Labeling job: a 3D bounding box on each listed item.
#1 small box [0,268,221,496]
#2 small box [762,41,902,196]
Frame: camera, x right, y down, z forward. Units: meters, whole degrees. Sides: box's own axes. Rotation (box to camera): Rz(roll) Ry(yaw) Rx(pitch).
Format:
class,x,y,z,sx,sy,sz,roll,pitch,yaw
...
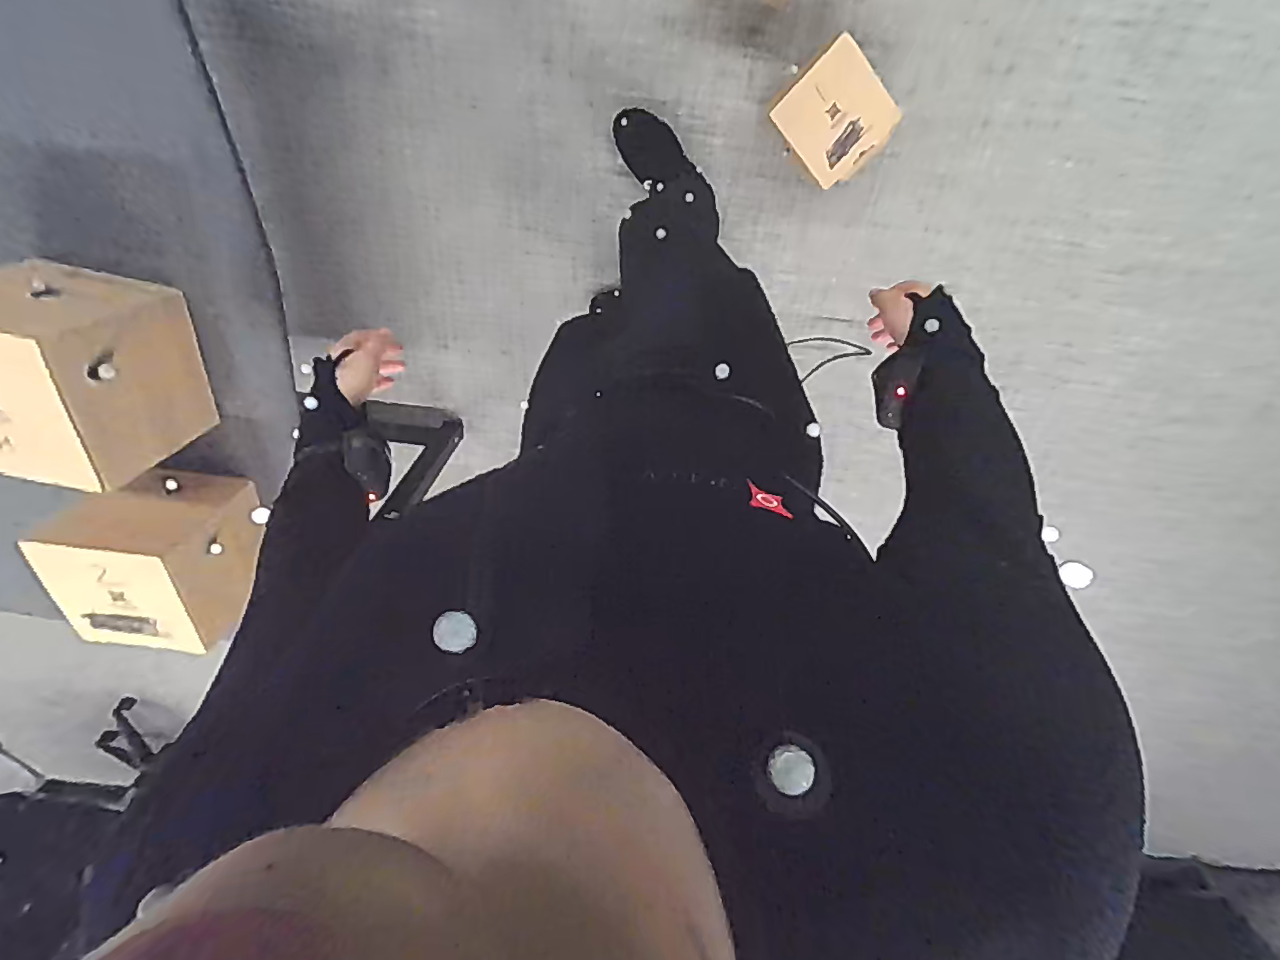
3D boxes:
class,x,y,z,sx,sy,sz,roll,pitch,yaw
small box,-0.611,-0.113,0.588,0.168,0.176,0.179,12,125,-2
small box,0.355,-0.680,1.025,0.179,0.176,0.168,41,117,-20
